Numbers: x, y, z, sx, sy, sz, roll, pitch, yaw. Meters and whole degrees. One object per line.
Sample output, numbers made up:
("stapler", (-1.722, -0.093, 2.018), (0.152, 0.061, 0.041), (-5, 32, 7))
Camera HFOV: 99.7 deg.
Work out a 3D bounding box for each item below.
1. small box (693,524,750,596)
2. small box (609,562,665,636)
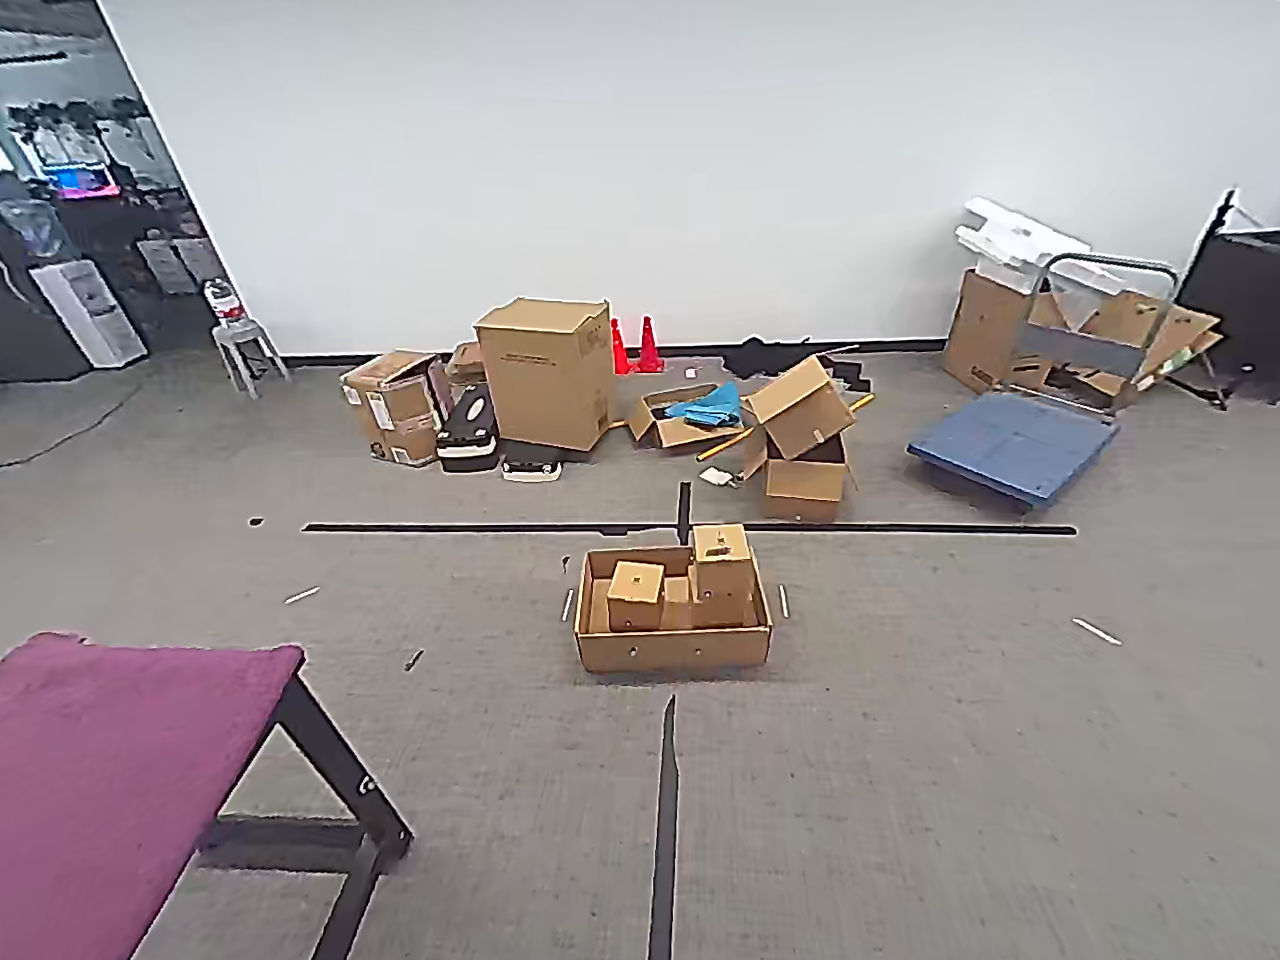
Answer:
("small box", (0.261, 0.263, 1.750), (0.168, 0.176, 0.179), (-3, 34, 3))
("small box", (-0.006, 0.408, 1.863), (0.168, 0.176, 0.179), (4, 35, 10))
